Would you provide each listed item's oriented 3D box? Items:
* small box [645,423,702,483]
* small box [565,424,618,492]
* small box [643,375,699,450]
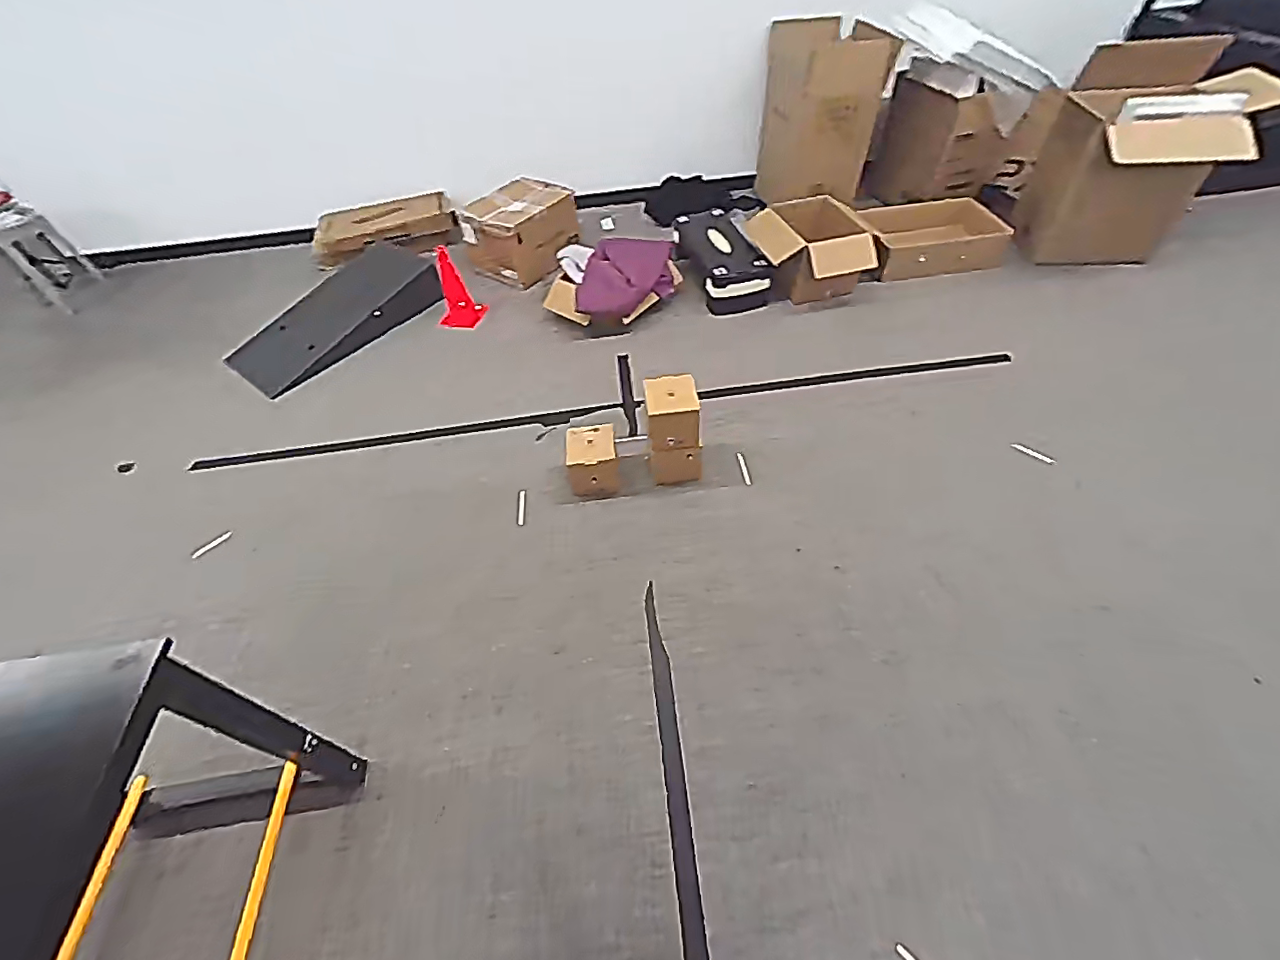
[{"bbox_3d":[0.117,-0.111,1.922,0.179,0.176,0.168,-8,50,-3],"label":"small box"},{"bbox_3d":[-0.169,-0.070,1.911,0.168,0.176,0.179,-6,50,0],"label":"small box"},{"bbox_3d":[0.101,-0.224,1.805,0.168,0.176,0.179,-7,51,-1],"label":"small box"}]
